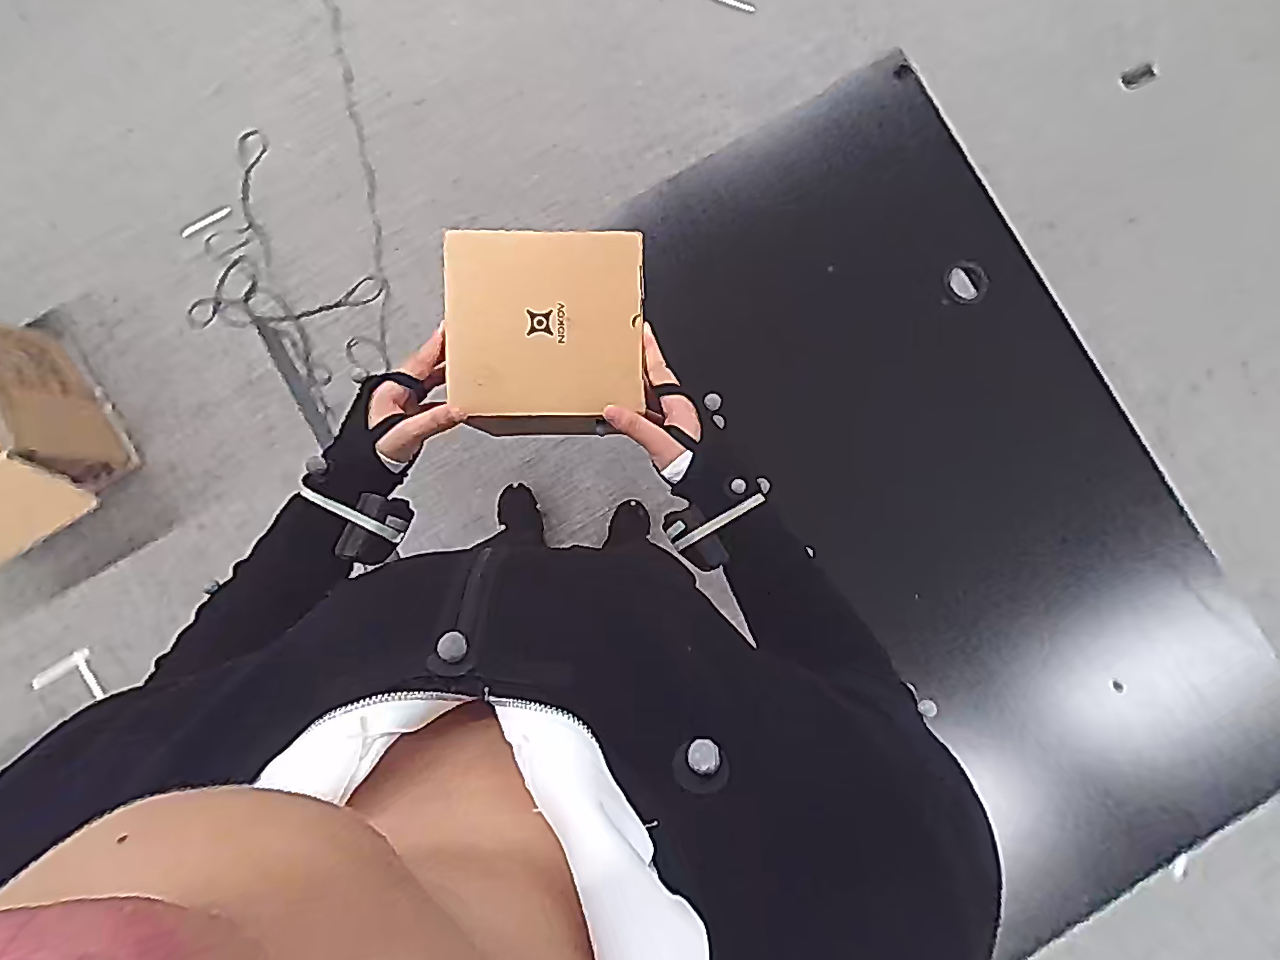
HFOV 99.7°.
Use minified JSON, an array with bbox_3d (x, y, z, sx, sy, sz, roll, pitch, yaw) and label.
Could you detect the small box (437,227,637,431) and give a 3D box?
[{"bbox_3d":[-0.096,-0.141,0.561,0.179,0.176,0.168,-2,90,-4],"label":"small box"}]
